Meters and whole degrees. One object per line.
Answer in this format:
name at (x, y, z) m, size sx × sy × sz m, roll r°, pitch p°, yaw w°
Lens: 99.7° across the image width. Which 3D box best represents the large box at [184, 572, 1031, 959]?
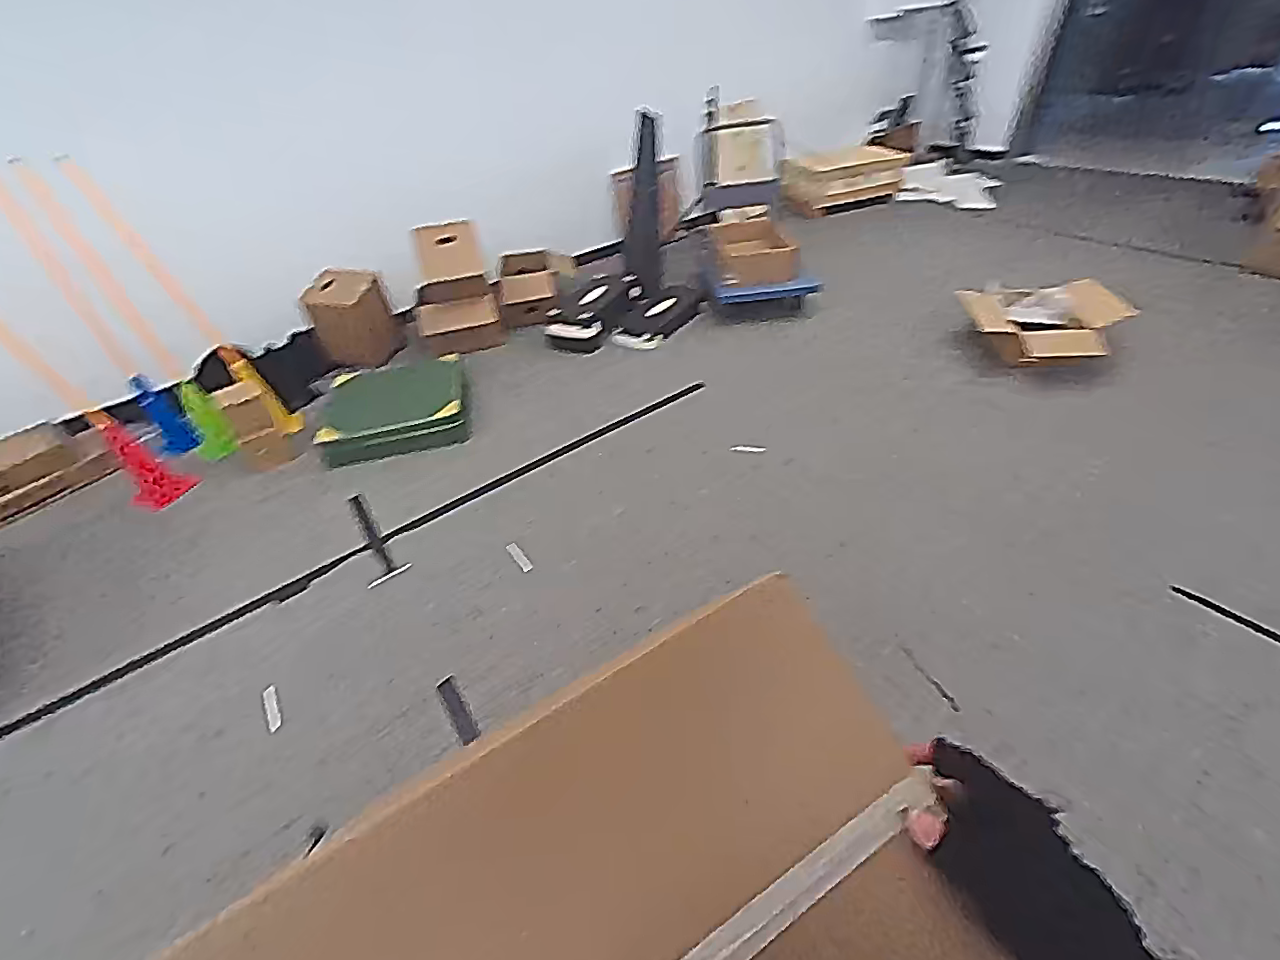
large box at (-0.015, 0.329, 0.435) m, size 0.408 × 0.320 × 0.320 m, roll -27°, pitch 77°, yaw -16°
